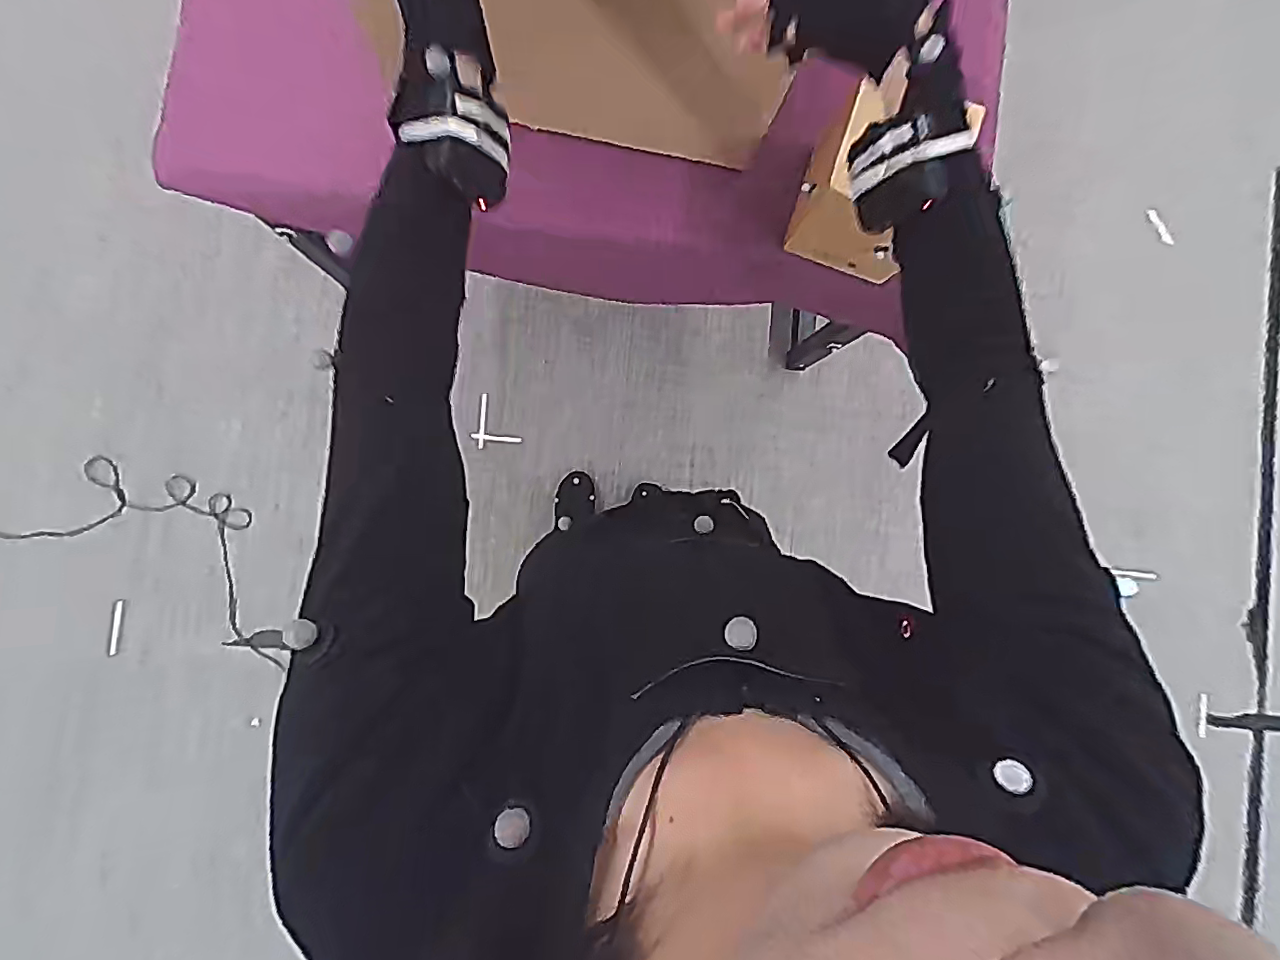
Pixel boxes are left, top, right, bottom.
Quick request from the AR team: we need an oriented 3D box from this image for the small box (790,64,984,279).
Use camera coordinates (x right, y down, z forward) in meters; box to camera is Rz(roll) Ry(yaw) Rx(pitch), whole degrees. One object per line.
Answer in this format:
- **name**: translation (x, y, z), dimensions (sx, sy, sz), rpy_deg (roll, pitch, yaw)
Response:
- **small box**: translation (0.329, -0.411, 0.755), dimensions (0.168, 0.176, 0.179), rpy_deg (18, 85, -5)
